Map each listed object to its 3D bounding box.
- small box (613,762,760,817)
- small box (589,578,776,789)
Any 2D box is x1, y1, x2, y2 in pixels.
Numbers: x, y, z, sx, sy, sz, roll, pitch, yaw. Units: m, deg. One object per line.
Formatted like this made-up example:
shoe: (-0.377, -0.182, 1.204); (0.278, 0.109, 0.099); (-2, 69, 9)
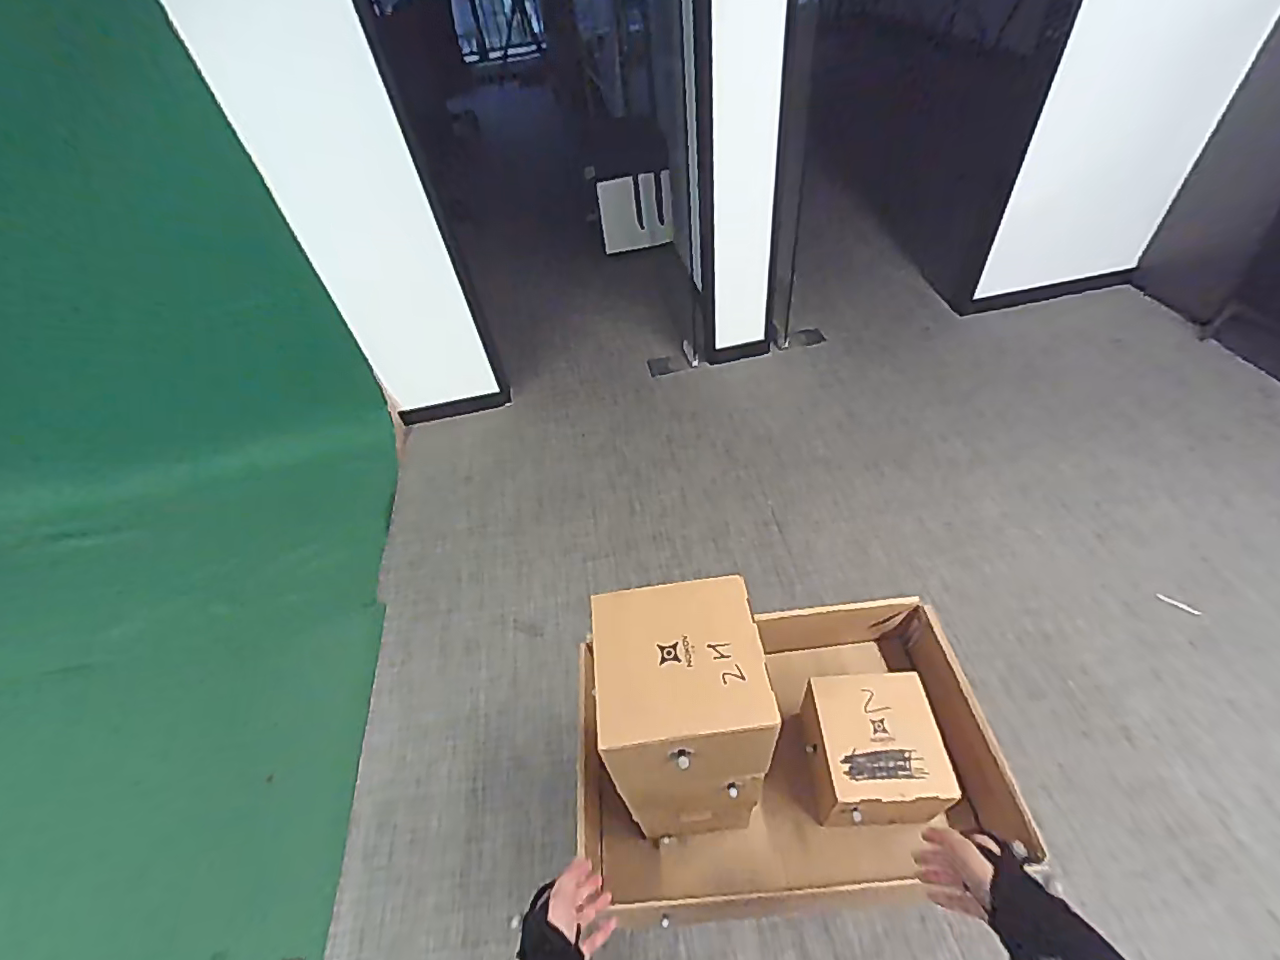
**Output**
small box: (0.056, 0.344, 0.738); (0.179, 0.176, 0.168); (-7, 48, 0)
small box: (0.043, 0.235, 0.615); (0.179, 0.176, 0.168); (-7, 48, 0)
